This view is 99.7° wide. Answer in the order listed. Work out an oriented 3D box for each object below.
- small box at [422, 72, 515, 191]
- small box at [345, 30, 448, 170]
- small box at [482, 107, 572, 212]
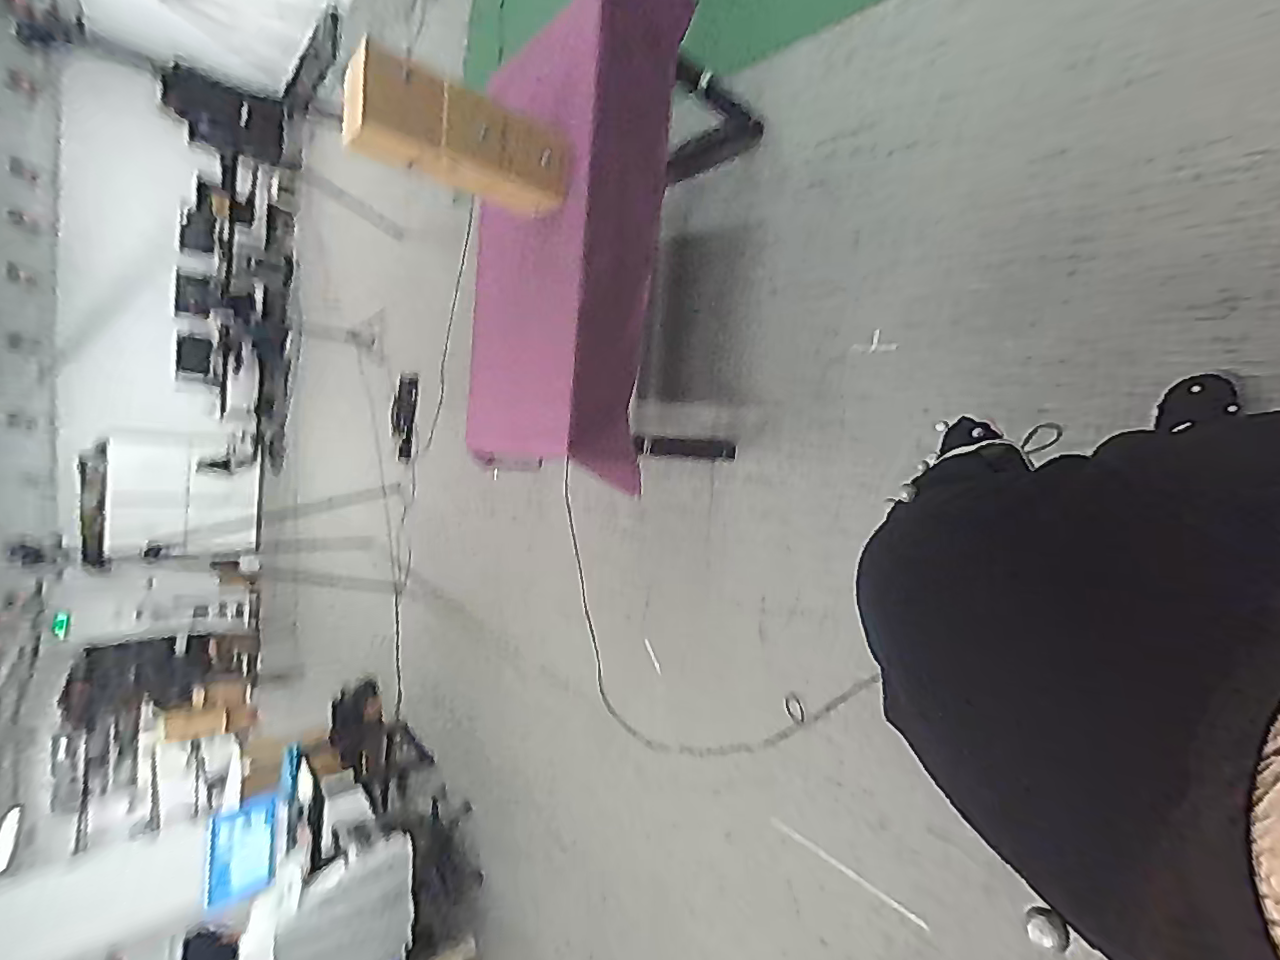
[{"bbox_3d":[-0.420,-0.836,1.319,0.179,0.176,0.168,10,96,47],"label":"small box"},{"bbox_3d":[-0.544,-0.836,1.212,0.168,0.176,0.179,10,97,48],"label":"small box"},{"bbox_3d":[-0.299,-0.837,1.431,0.179,0.176,0.168,11,96,46],"label":"small box"}]
